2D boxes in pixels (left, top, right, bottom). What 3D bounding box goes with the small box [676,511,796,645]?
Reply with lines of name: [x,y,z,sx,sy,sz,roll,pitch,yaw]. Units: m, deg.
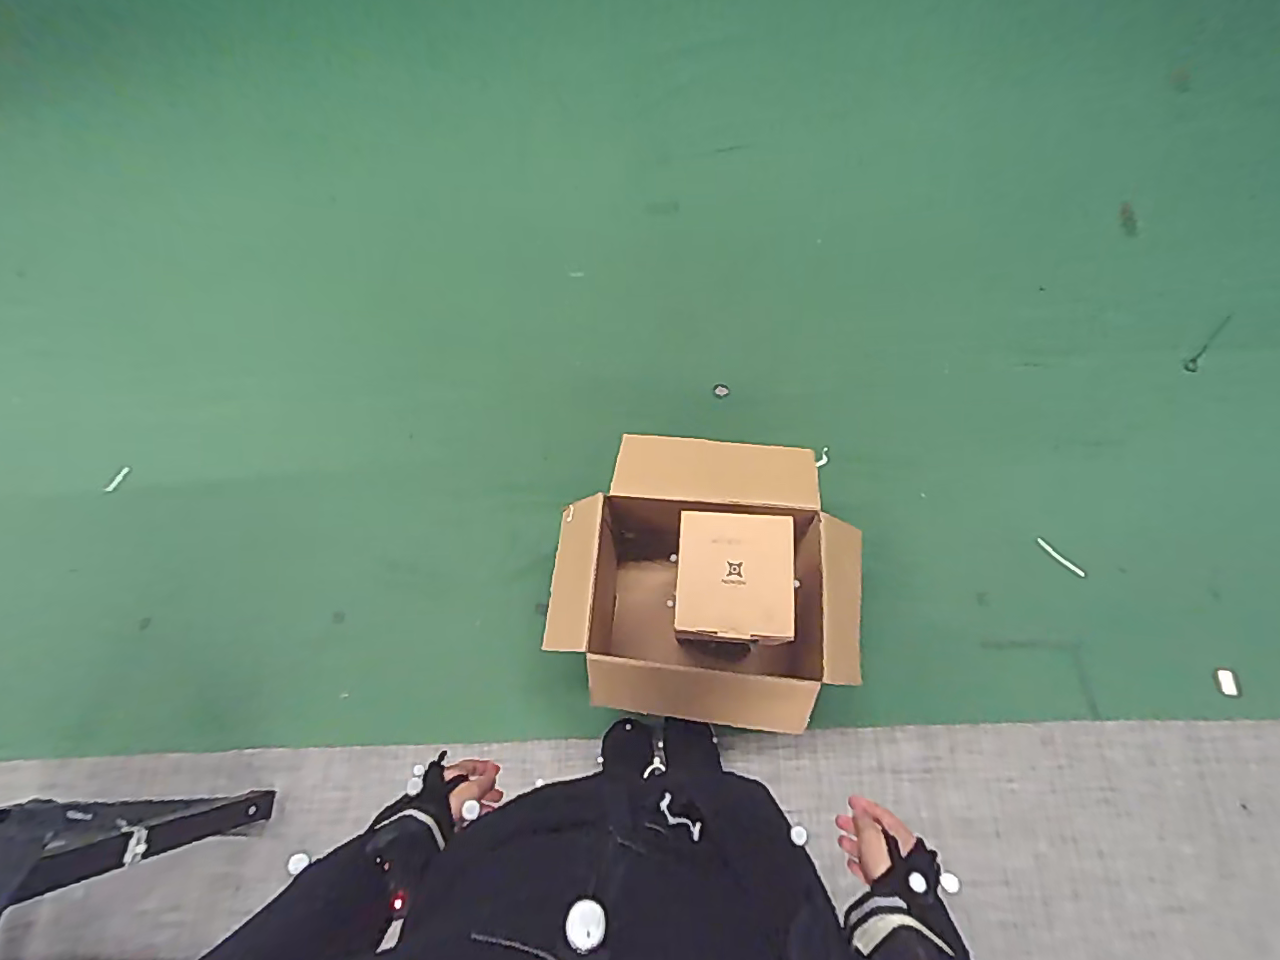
small box: [0.144,0.158,0.838,0.168,0.176,0.179,2,70,5]
